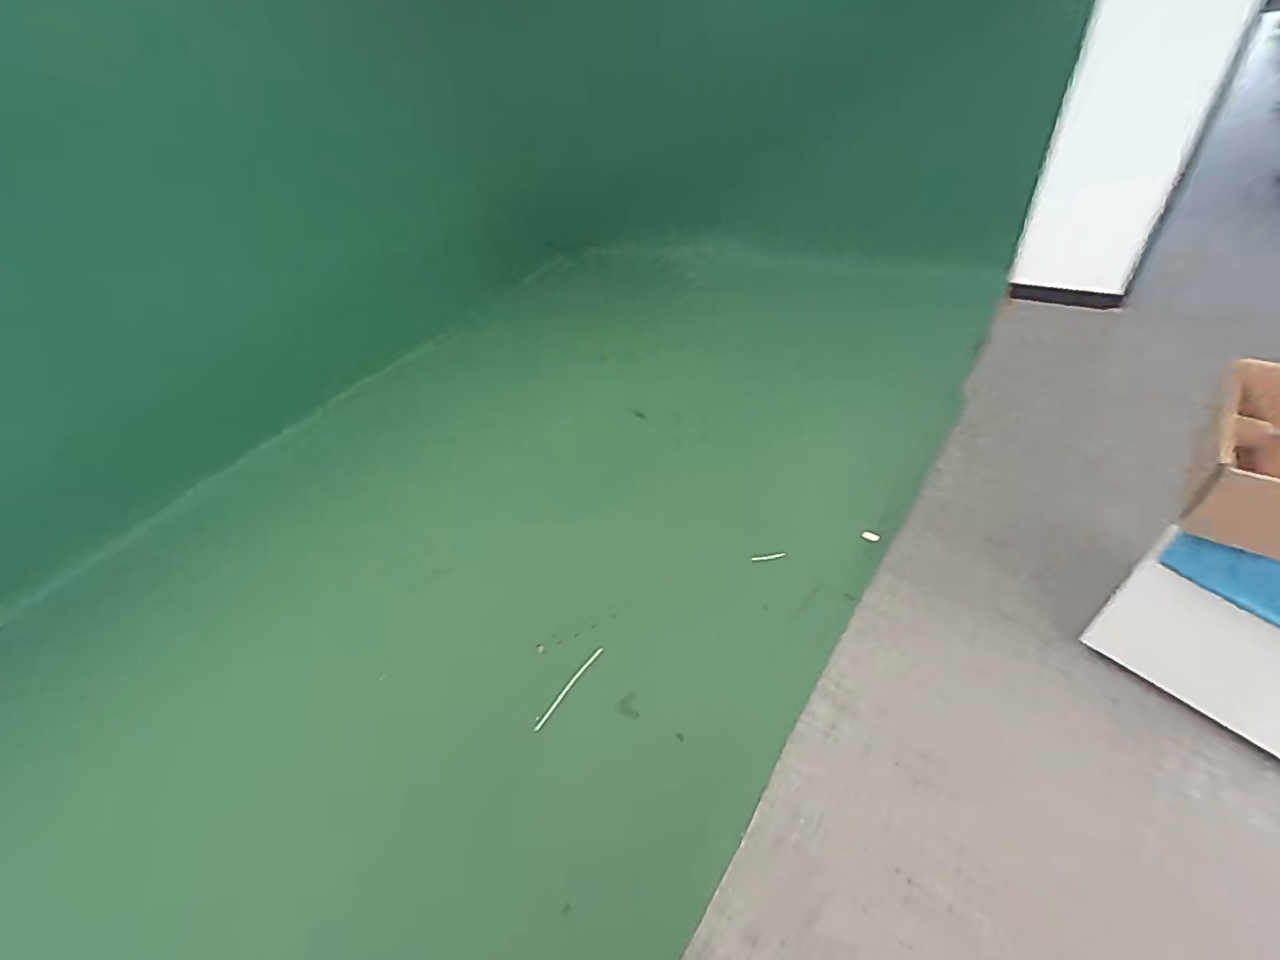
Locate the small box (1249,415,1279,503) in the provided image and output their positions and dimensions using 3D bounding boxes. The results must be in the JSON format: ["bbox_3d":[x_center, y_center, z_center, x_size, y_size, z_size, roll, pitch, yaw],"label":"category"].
[{"bbox_3d":[1.320,-0.051,1.028,0.168,0.176,0.179,23,53,32],"label":"small box"}]
